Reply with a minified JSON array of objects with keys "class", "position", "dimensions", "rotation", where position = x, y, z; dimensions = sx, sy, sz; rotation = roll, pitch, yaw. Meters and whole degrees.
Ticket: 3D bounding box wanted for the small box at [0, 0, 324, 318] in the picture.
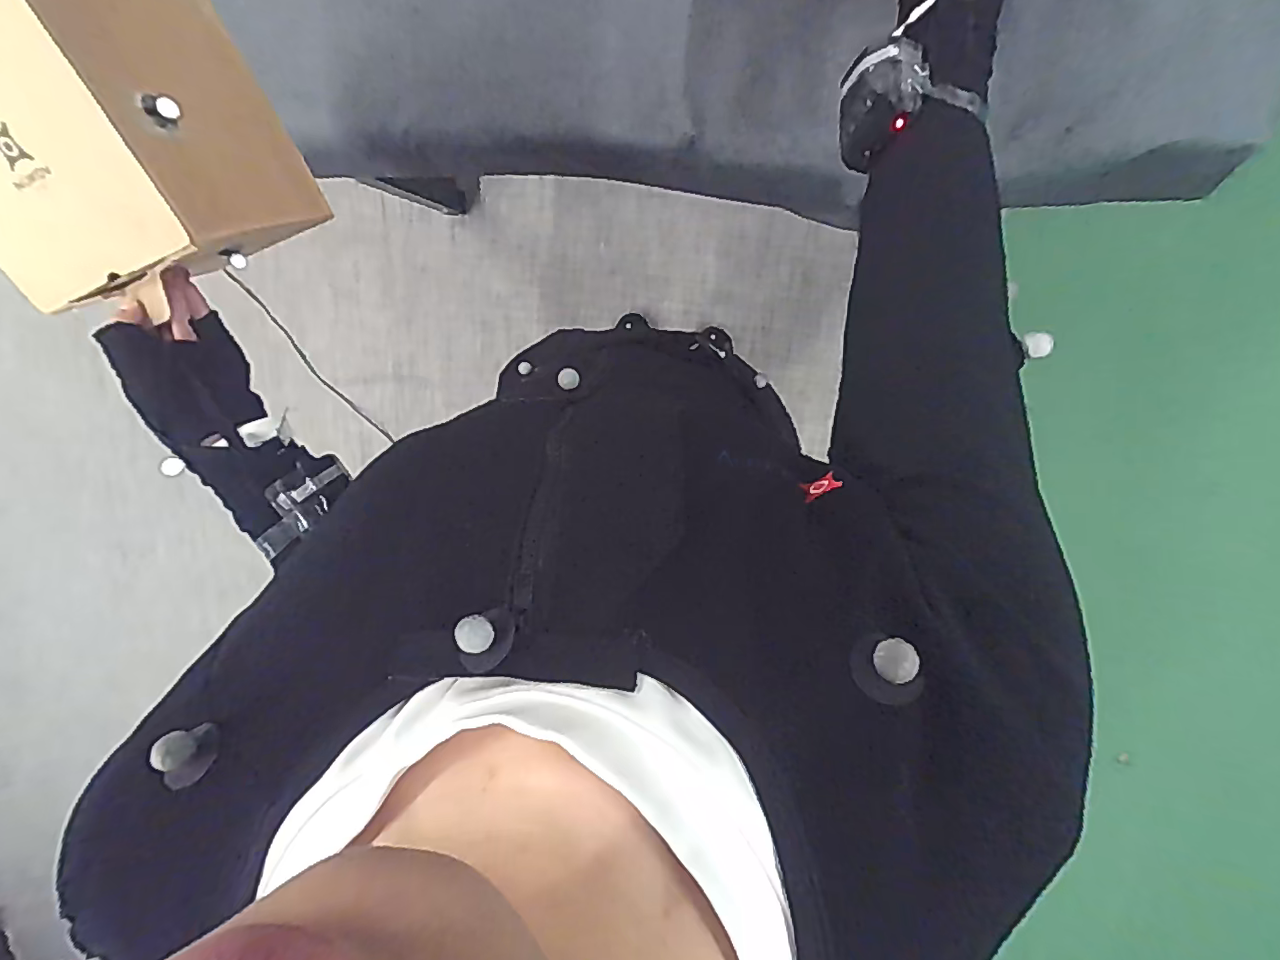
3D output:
[{"class":"small box","position":[-0.396,-0.252,0.418],"dimensions":[0.168,0.176,0.179],"rotation":[-14,118,15]}]
